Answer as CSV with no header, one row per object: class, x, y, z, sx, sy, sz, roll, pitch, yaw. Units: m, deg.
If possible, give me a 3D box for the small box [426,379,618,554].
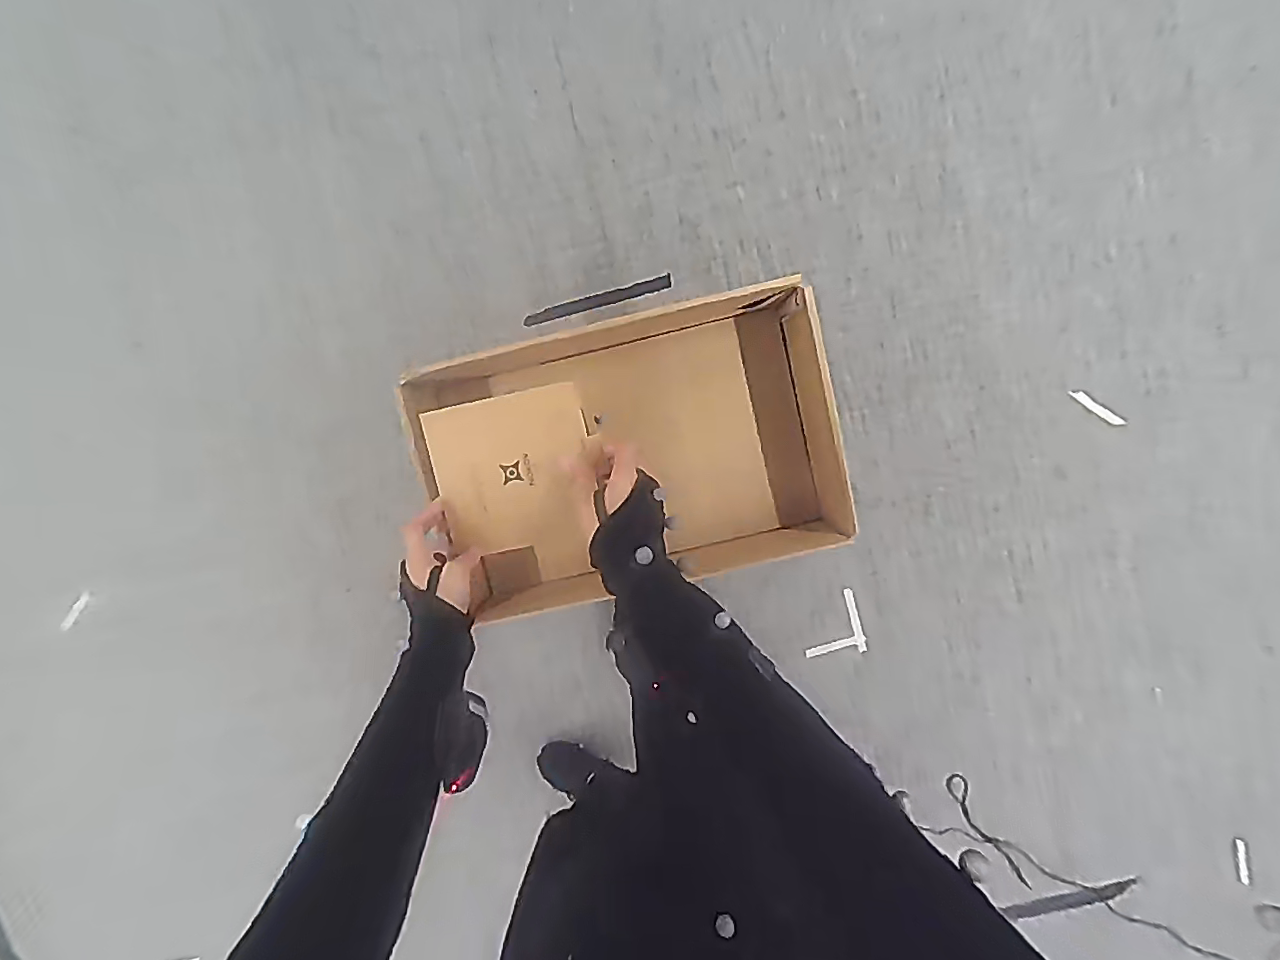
small box,-0.126,-0.022,0.657,0.179,0.176,0.168,-11,95,4
